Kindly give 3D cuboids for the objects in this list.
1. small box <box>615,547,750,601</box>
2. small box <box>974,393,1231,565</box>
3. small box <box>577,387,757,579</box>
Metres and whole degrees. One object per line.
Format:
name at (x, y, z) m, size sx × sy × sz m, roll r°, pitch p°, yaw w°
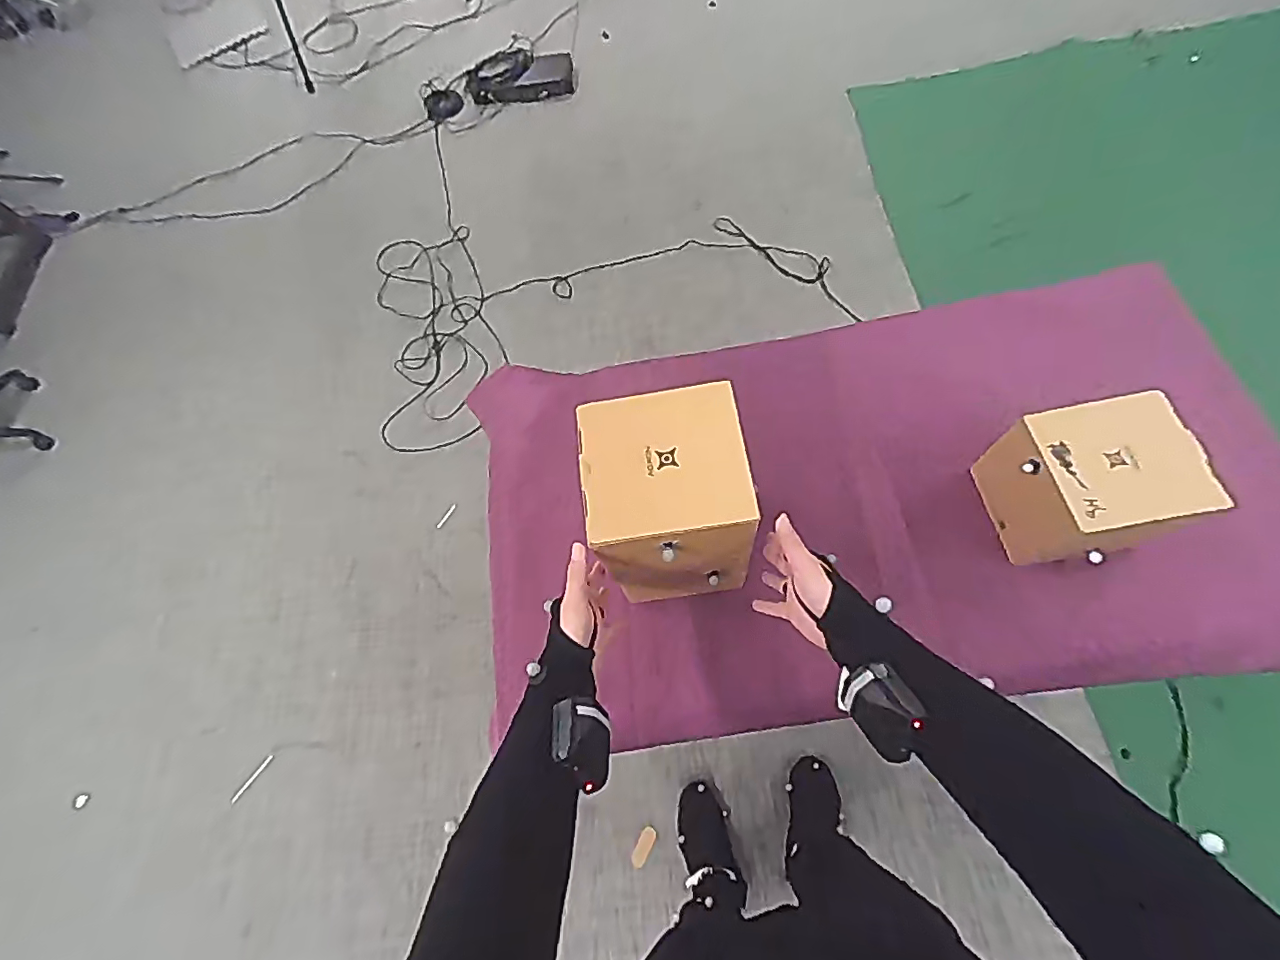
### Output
small box at (0.055, 0.074, 0.794) m, size 0.179 × 0.176 × 0.168 m, roll -9°, pitch 66°, yaw 5°
small box at (0.603, 0.007, 0.737) m, size 0.179 × 0.176 × 0.168 m, roll -11°, pitch 66°, yaw 4°
small box at (0.034, 0.014, 0.646) m, size 0.179 × 0.176 × 0.168 m, roll -10°, pitch 67°, yaw 5°
